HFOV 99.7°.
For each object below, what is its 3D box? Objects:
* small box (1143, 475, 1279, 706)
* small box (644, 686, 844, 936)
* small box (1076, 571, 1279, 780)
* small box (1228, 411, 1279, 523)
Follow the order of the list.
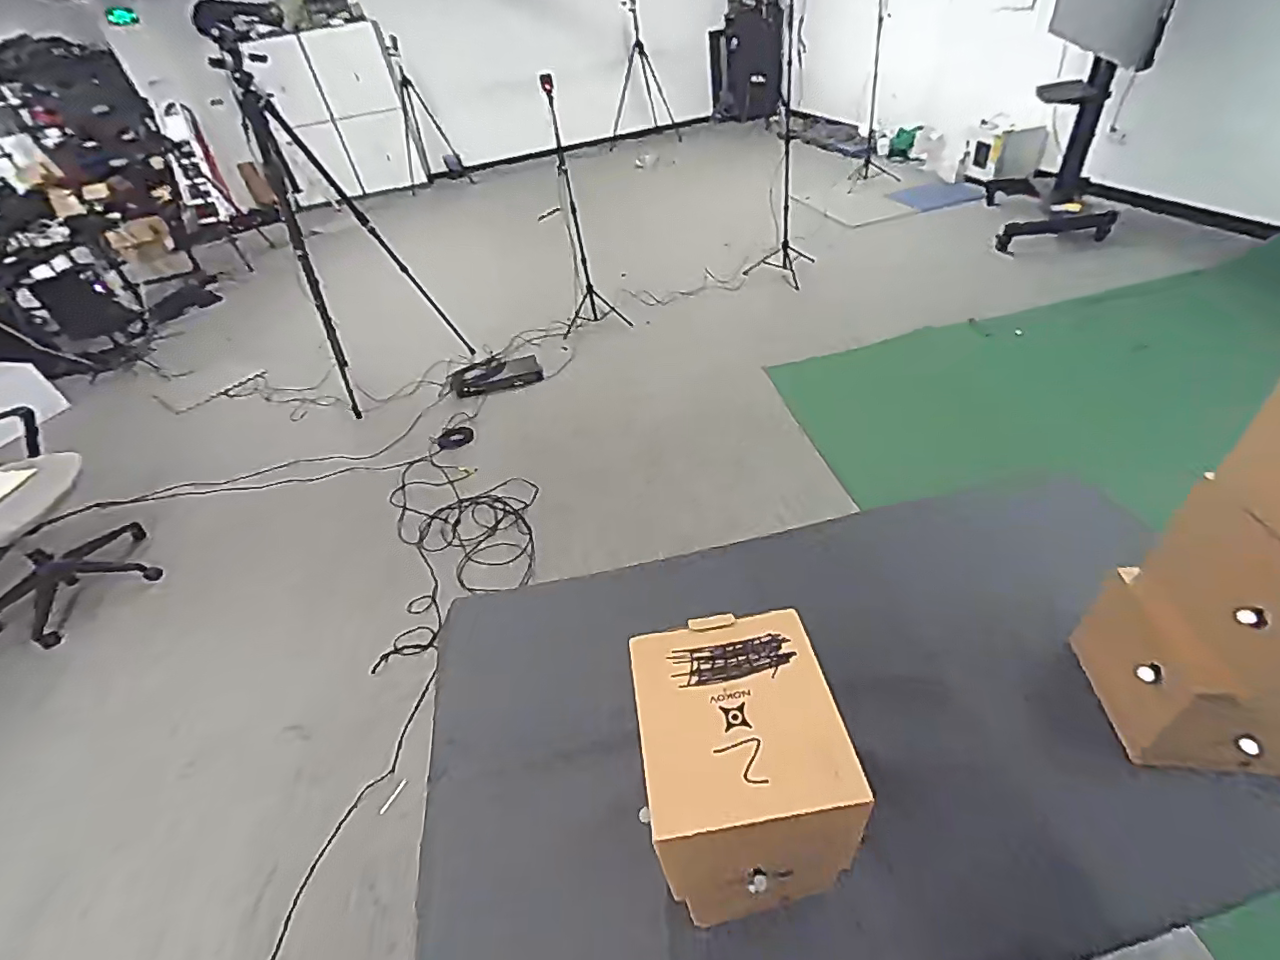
[{"bbox_3d":[0.668,0.109,0.533,0.168,0.176,0.179,-3,38,8],"label":"small box"},{"bbox_3d":[0.108,0.373,0.615,0.168,0.176,0.179,-14,39,-3],"label":"small box"},{"bbox_3d":[0.672,0.229,0.643,0.168,0.176,0.179,-1,39,12],"label":"small box"},{"bbox_3d":[0.652,-0.014,0.424,0.168,0.176,0.179,-8,40,3],"label":"small box"}]
